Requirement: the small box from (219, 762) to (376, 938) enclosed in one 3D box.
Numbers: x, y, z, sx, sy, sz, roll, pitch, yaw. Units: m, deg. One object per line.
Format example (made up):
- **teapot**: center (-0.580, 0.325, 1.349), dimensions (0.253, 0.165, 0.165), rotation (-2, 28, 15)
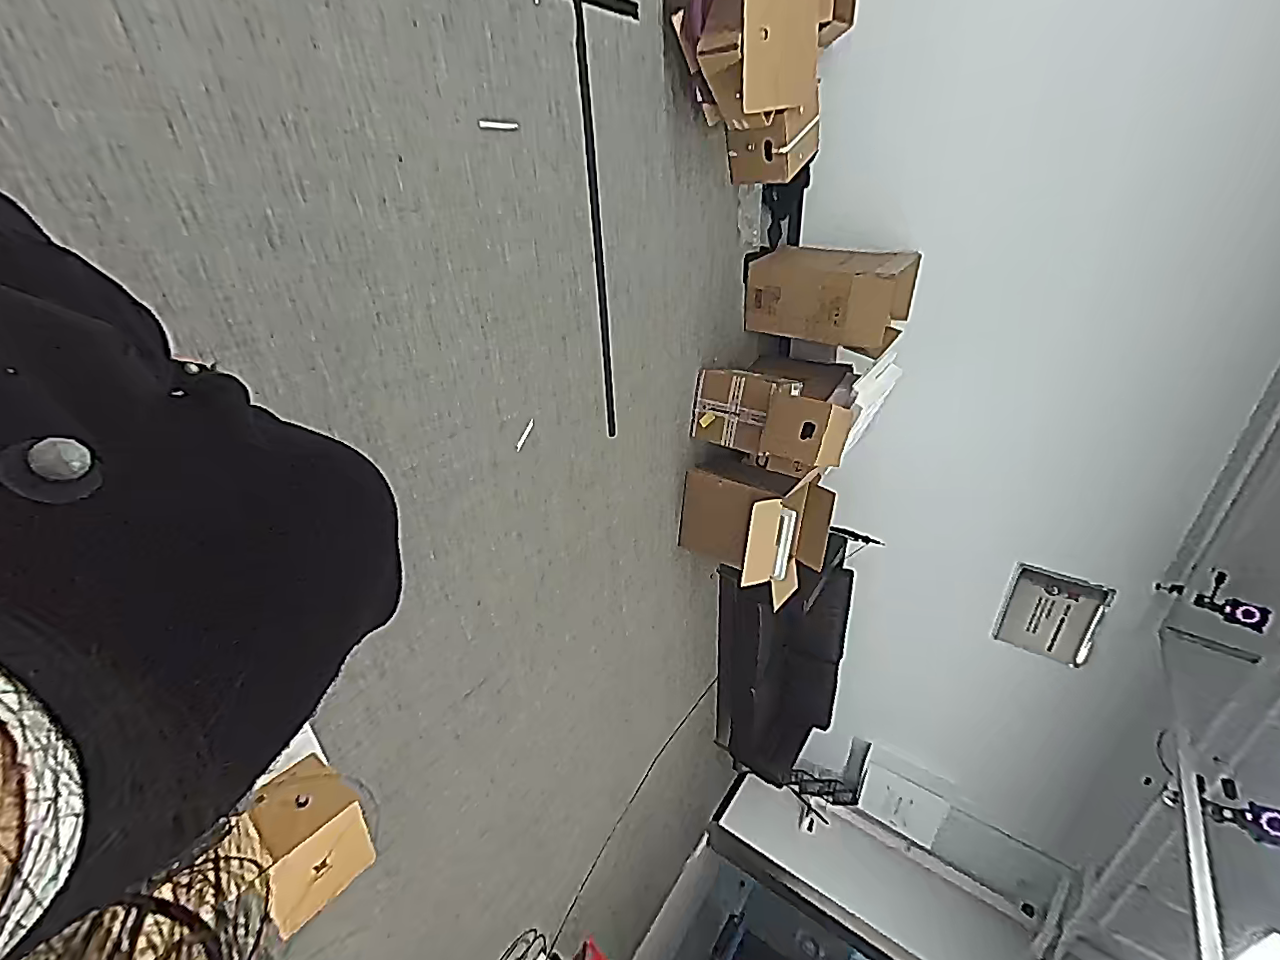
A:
- **small box**: center (-0.610, 0.643, 0.968), dimensions (0.168, 0.176, 0.179), rotation (-30, 129, -47)
